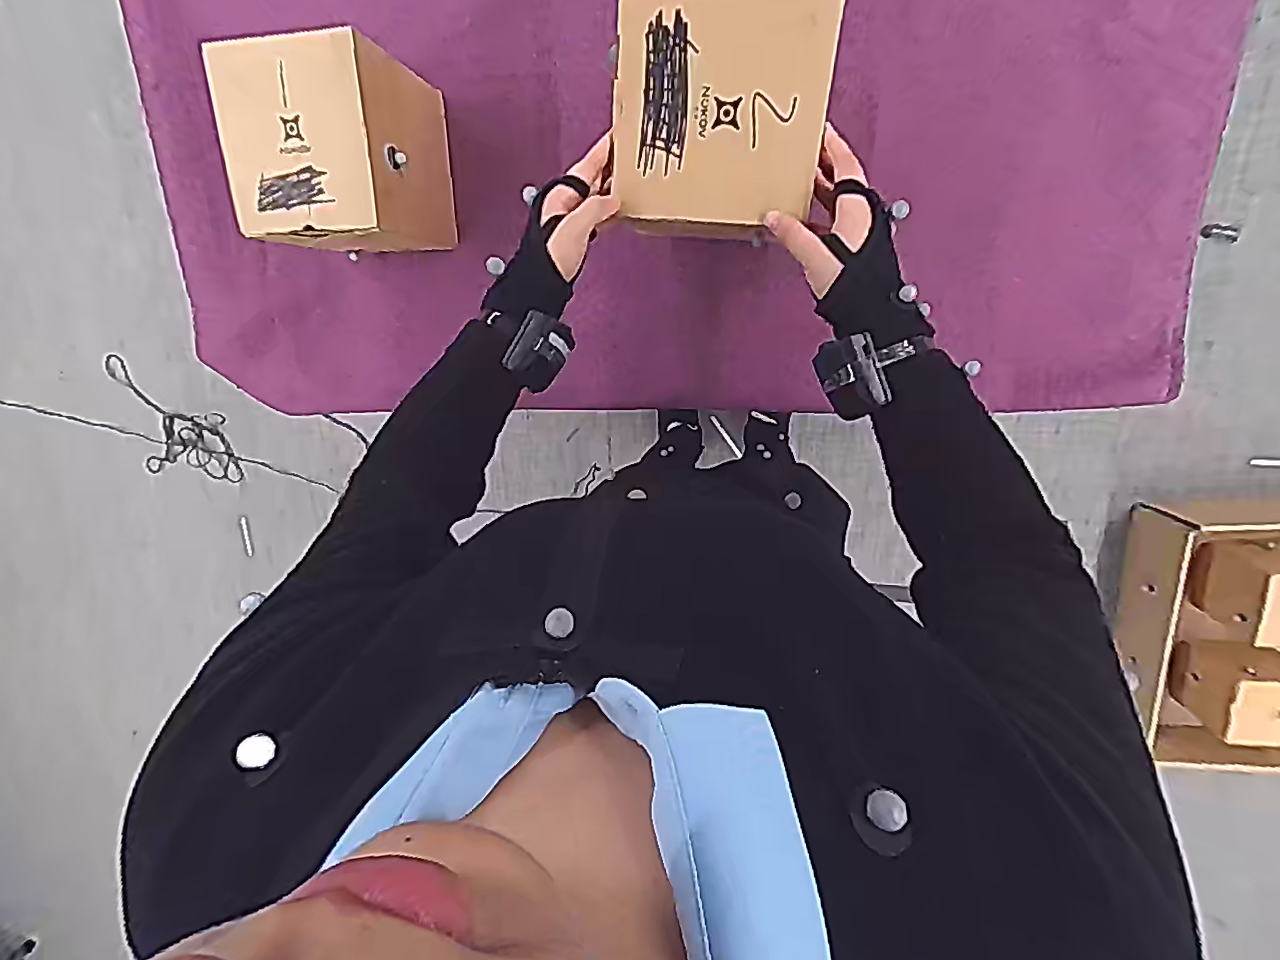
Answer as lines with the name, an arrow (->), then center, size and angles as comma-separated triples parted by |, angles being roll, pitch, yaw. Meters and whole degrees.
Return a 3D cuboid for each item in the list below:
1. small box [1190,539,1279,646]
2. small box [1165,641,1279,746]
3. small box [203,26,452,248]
small box -> 1.386, 0.246, 1.198 | 0.168, 0.176, 0.179 | -4, 107, 10
small box -> 1.408, 0.495, 1.270 | 0.179, 0.176, 0.168 | -2, 105, 11
small box -> -0.330, -0.363, 0.612 | 0.168, 0.176, 0.179 | 2, 106, 9
